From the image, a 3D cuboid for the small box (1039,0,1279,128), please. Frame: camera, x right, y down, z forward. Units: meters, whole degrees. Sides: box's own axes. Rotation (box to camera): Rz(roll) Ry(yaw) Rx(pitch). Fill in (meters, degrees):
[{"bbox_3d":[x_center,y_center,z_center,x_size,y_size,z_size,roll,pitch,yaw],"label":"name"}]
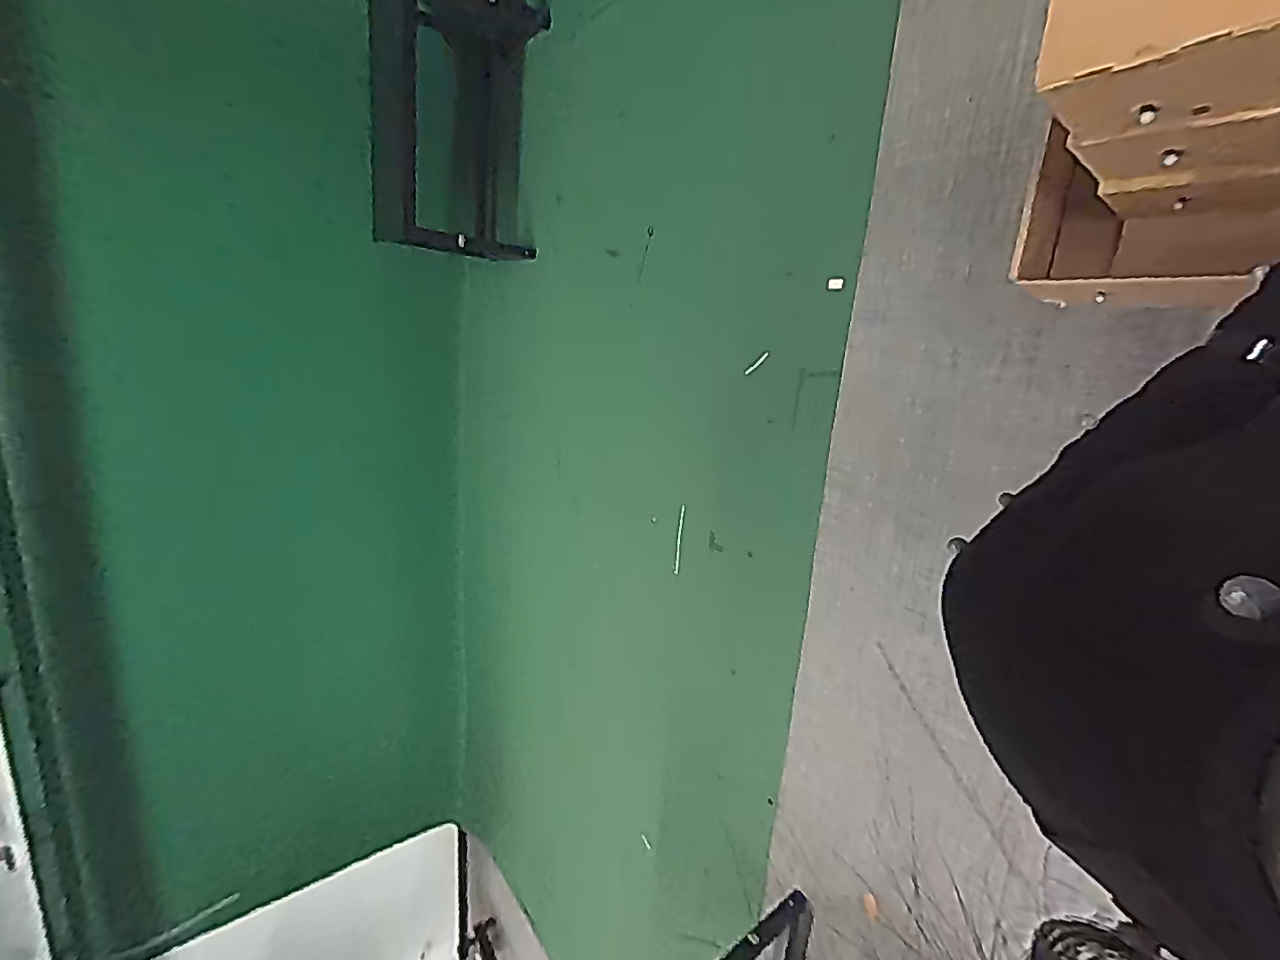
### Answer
[{"bbox_3d":[0.503,-0.461,0.492,0.168,0.176,0.179,18,110,50],"label":"small box"}]
